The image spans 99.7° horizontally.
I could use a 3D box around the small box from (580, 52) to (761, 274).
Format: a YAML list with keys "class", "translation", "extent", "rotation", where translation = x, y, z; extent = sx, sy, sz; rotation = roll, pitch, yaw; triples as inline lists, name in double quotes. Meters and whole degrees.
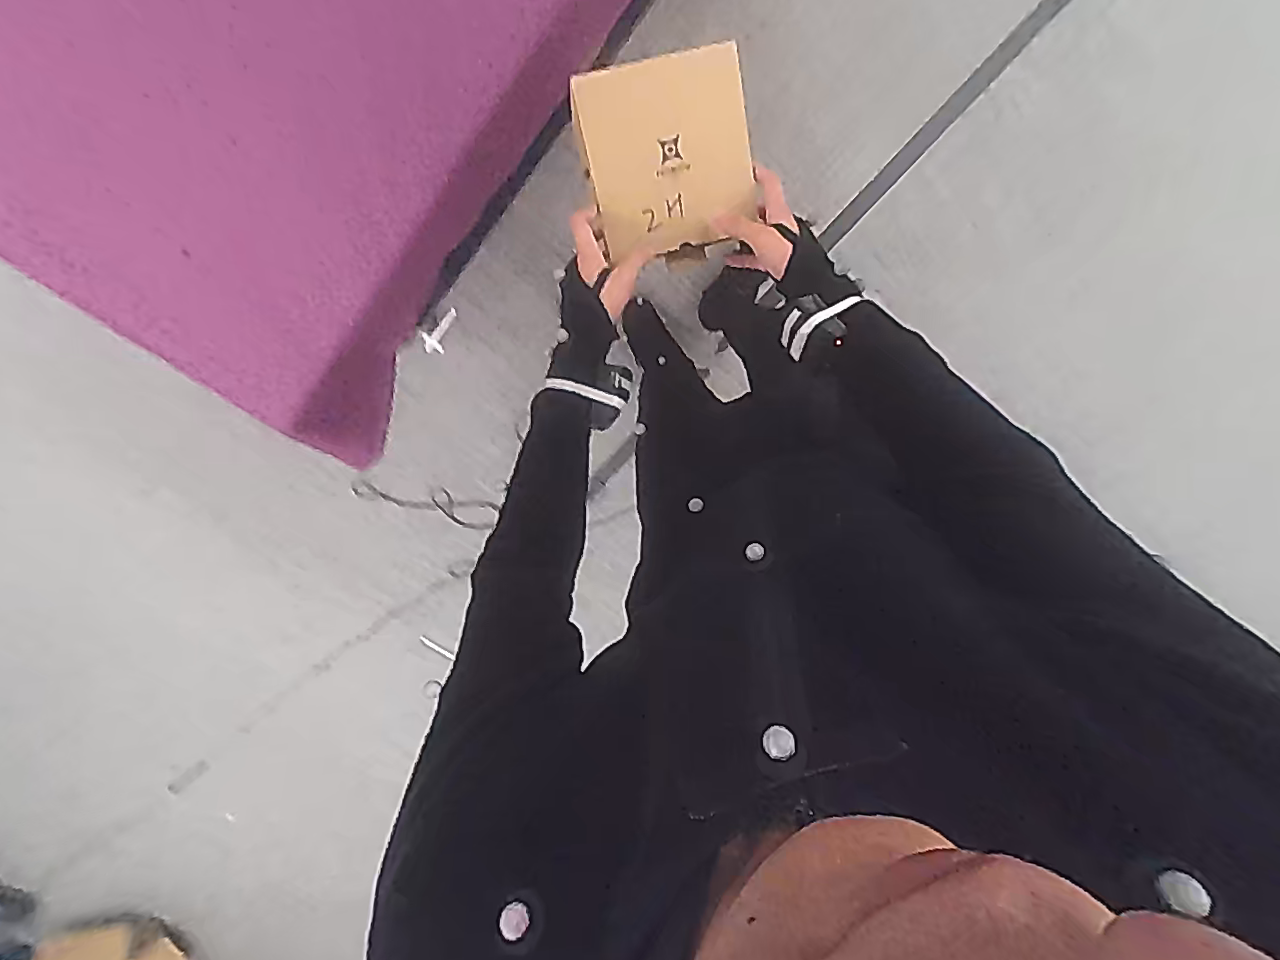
- class: "small box"
  translation: [0.028, -0.346, 0.627]
  extent: [0.168, 0.176, 0.179]
  rotation: [-13, 111, 0]
